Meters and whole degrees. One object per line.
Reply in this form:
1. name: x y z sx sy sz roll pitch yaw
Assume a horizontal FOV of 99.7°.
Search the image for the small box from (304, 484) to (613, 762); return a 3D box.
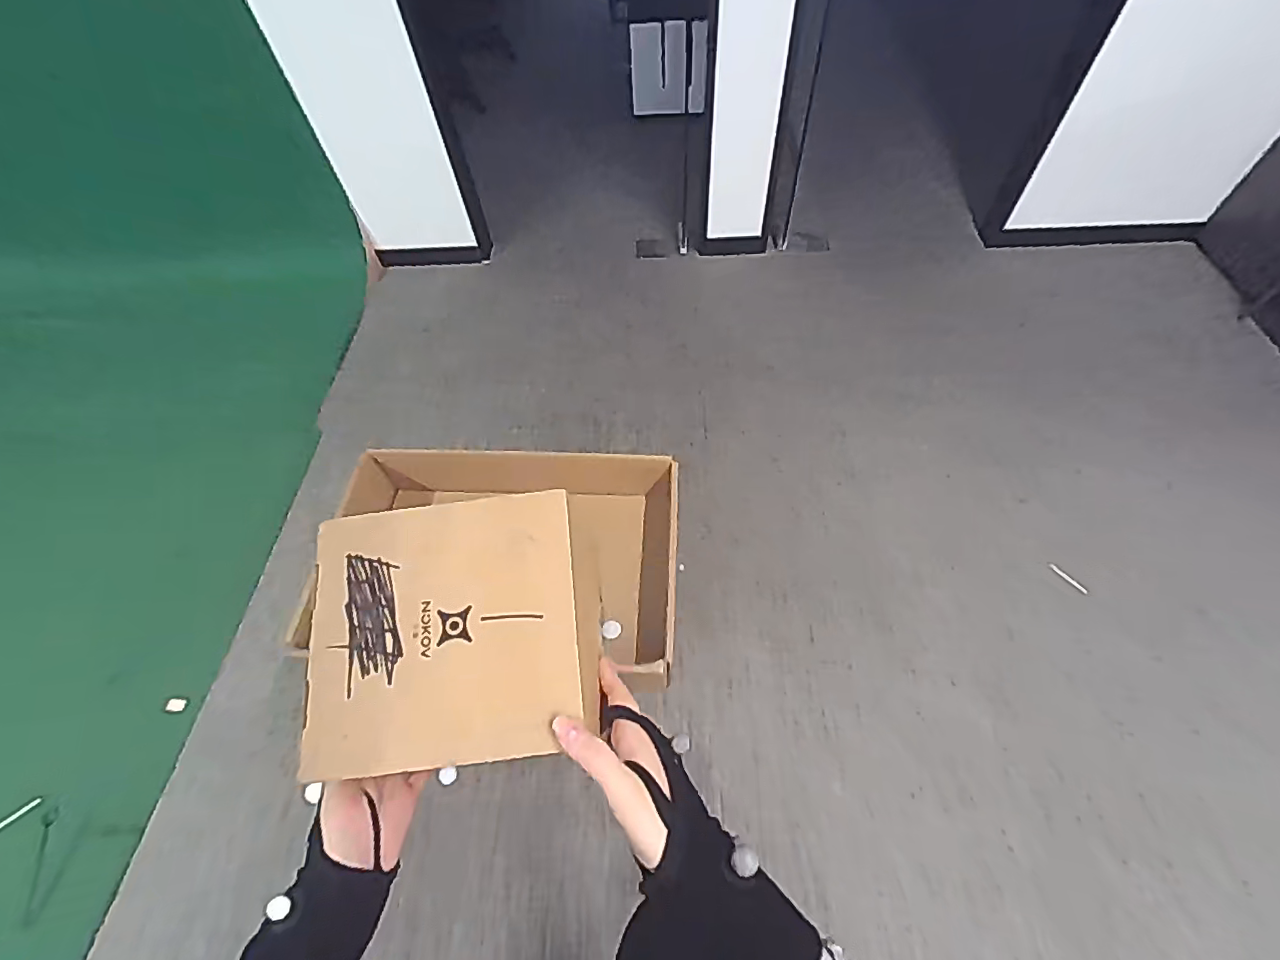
1. small box: -0.123 0.118 0.431 0.179 0.176 0.168 -8 69 0
